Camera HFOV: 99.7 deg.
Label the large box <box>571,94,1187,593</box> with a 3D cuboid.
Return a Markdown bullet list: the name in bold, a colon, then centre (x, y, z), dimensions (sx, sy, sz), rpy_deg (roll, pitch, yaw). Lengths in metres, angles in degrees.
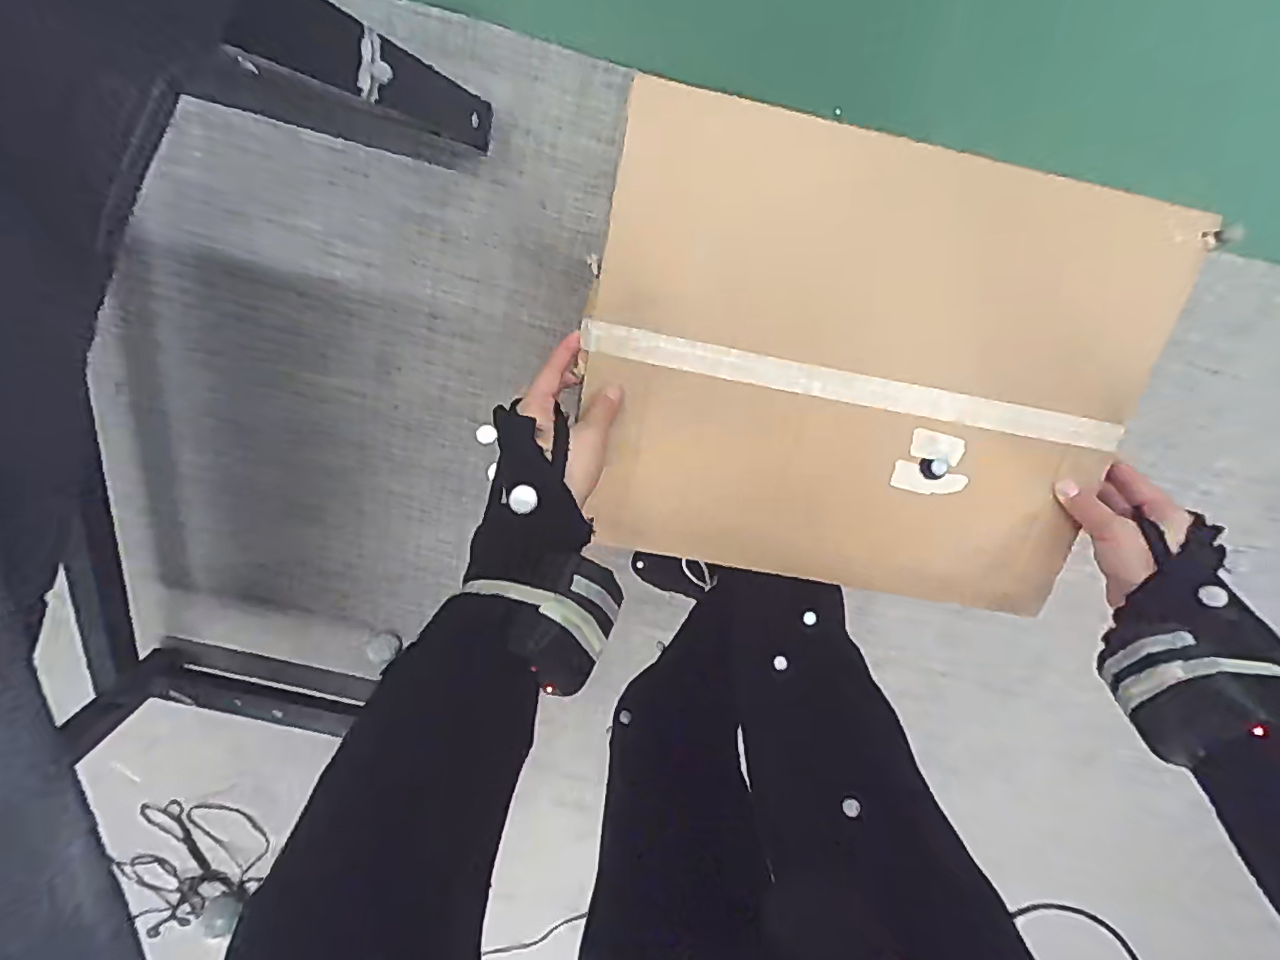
- **large box**: centre (0.156, -0.118, 0.543), dimensions (0.408, 0.320, 0.320), rpy_deg (9, 107, -5)
